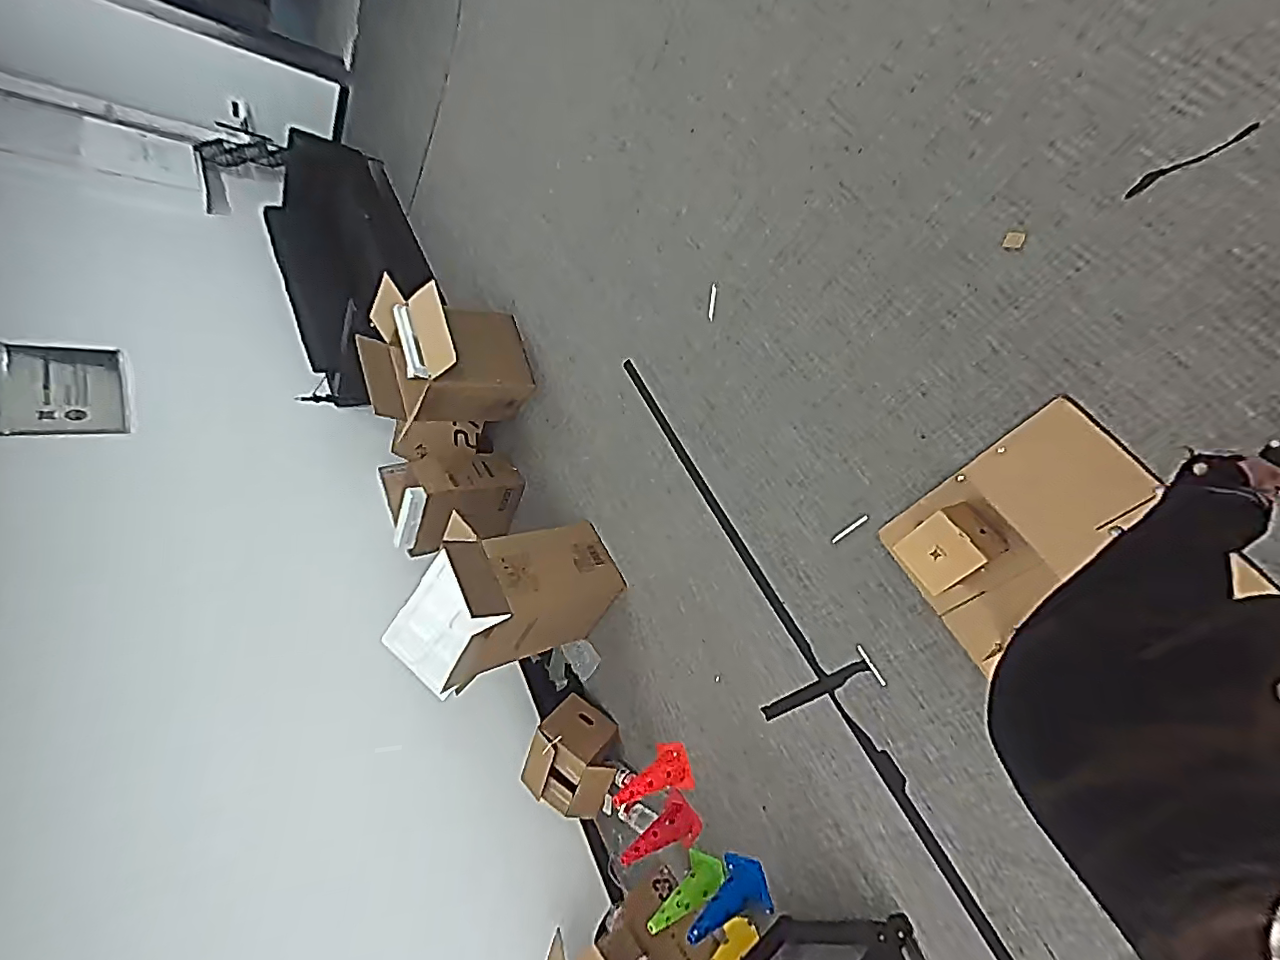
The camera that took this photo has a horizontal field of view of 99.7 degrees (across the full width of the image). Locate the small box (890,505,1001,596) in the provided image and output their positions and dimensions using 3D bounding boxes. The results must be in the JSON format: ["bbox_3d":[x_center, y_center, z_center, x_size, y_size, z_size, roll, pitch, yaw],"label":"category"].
[{"bbox_3d":[0.825,0.185,1.457,0.168,0.176,0.179,57,132,27],"label":"small box"}]

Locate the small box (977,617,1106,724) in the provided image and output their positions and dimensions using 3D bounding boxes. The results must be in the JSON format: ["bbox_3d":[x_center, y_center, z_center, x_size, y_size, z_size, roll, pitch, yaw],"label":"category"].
[{"bbox_3d":[0.975,0.457,1.310,0.179,0.176,0.168,-52,58,38],"label":"small box"}]
